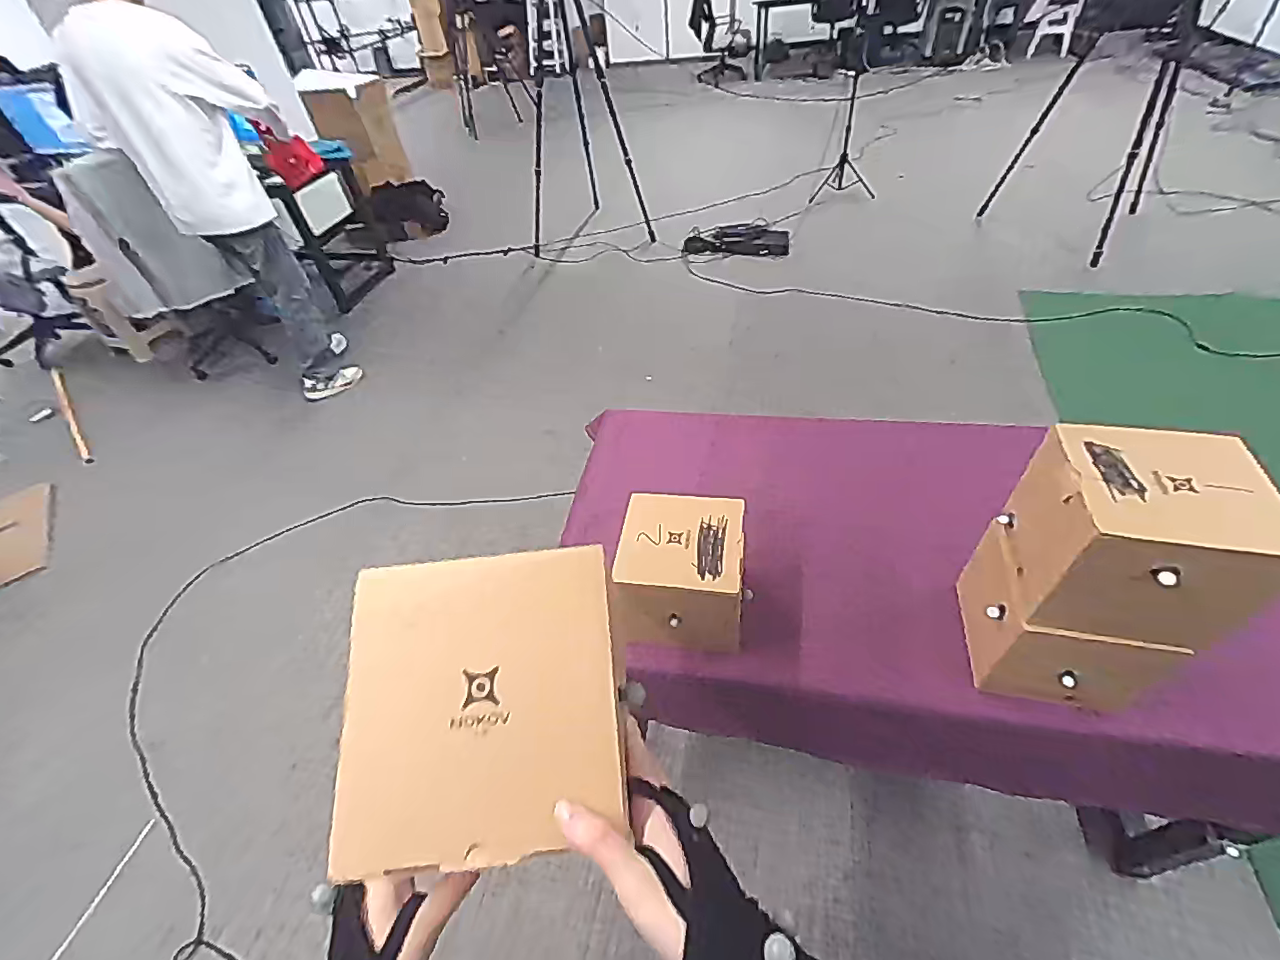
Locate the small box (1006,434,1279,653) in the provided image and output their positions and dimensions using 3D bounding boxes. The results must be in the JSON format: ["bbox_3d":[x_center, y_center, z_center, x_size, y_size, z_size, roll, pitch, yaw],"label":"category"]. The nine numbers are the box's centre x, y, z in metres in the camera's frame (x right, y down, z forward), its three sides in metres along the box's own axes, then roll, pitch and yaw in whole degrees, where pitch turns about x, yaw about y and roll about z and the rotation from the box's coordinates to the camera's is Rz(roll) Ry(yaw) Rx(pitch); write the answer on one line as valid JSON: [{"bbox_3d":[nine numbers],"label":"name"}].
[{"bbox_3d":[0.539,0.071,0.602,0.179,0.176,0.168,7,47,13],"label":"small box"}]

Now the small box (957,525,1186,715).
[{"bbox_3d":[0.546,0.187,0.719,0.168,0.176,0.179,7,47,13],"label":"small box"}]
